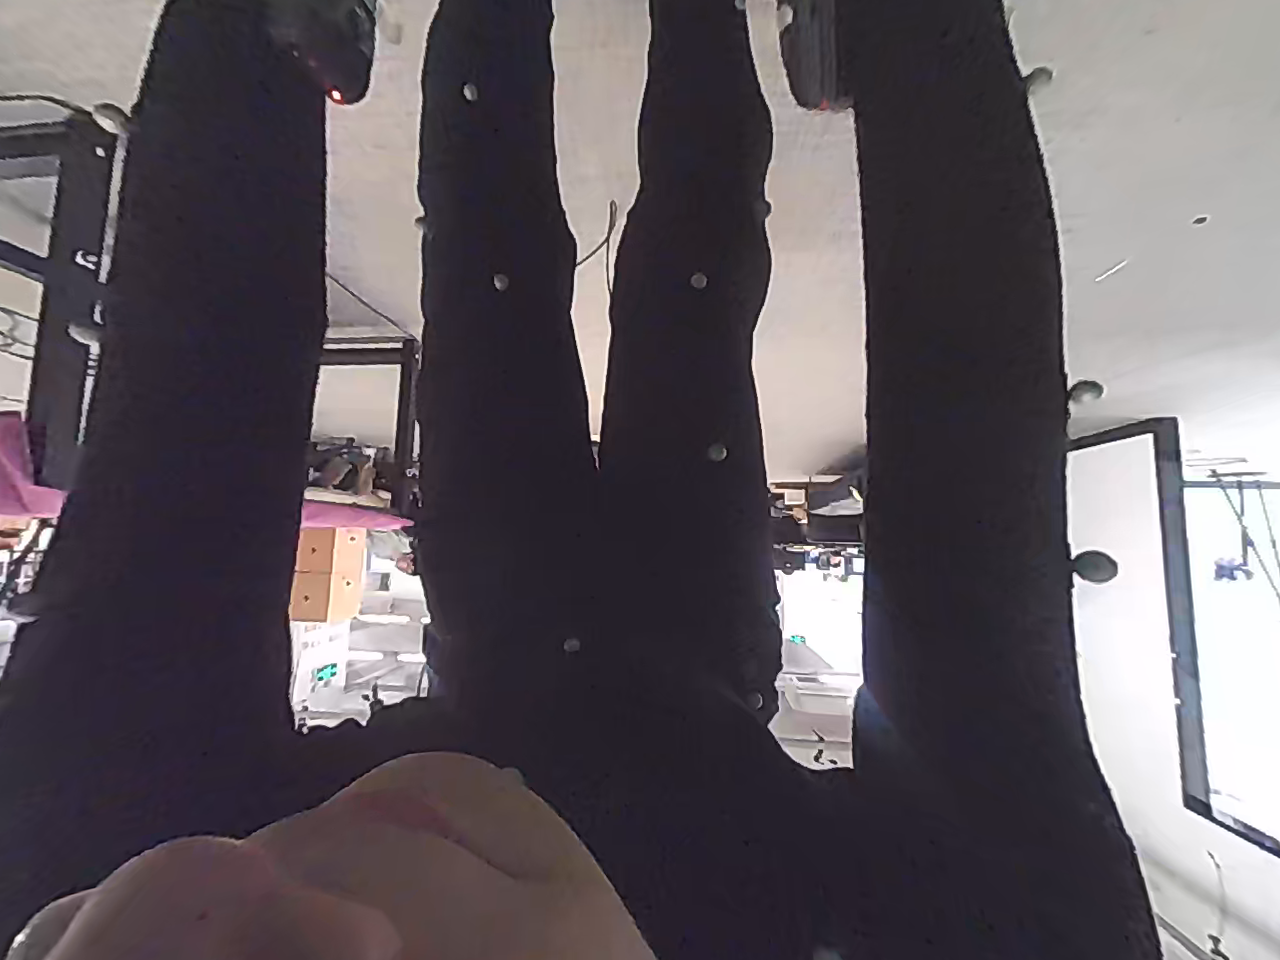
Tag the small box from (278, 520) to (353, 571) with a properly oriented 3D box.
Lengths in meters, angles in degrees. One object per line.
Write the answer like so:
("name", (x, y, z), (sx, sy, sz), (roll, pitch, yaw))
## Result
("small box", (-1.139, 0.231, 1.901), (0.179, 0.176, 0.168), (-1, 174, 6))
